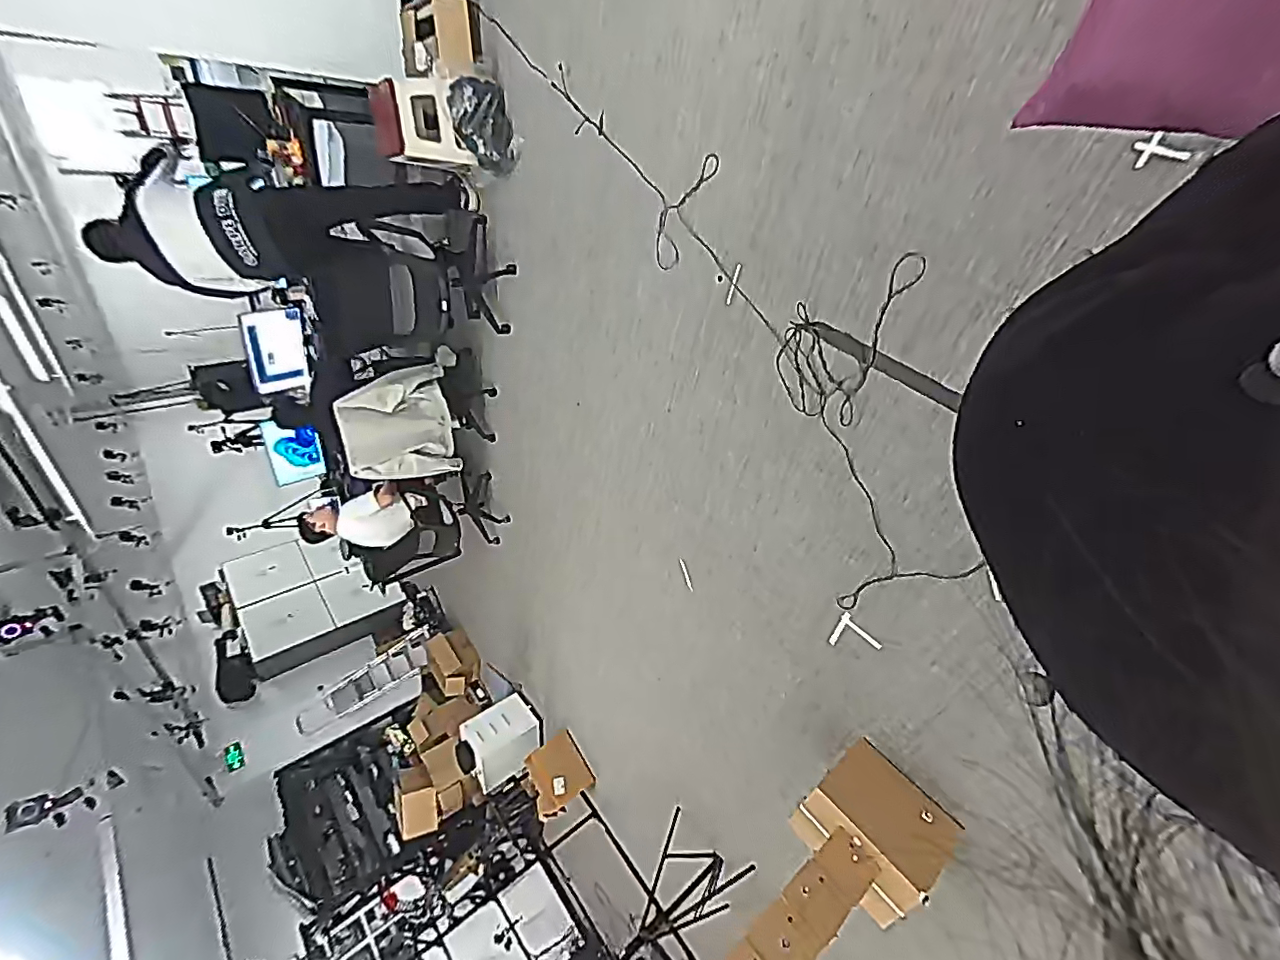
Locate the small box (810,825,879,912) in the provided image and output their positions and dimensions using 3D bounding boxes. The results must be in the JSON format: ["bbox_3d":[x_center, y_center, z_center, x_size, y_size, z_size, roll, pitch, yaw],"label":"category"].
[{"bbox_3d":[0.649,1.284,1.767,0.168,0.176,0.179,39,134,34],"label":"small box"}]

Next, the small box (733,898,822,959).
[{"bbox_3d":[0.402,1.376,1.573,0.168,0.176,0.179,36,132,39],"label":"small box"}]

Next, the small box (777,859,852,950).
[{"bbox_3d":[0.524,1.324,1.670,0.168,0.176,0.179,39,135,36],"label":"small box"}]
